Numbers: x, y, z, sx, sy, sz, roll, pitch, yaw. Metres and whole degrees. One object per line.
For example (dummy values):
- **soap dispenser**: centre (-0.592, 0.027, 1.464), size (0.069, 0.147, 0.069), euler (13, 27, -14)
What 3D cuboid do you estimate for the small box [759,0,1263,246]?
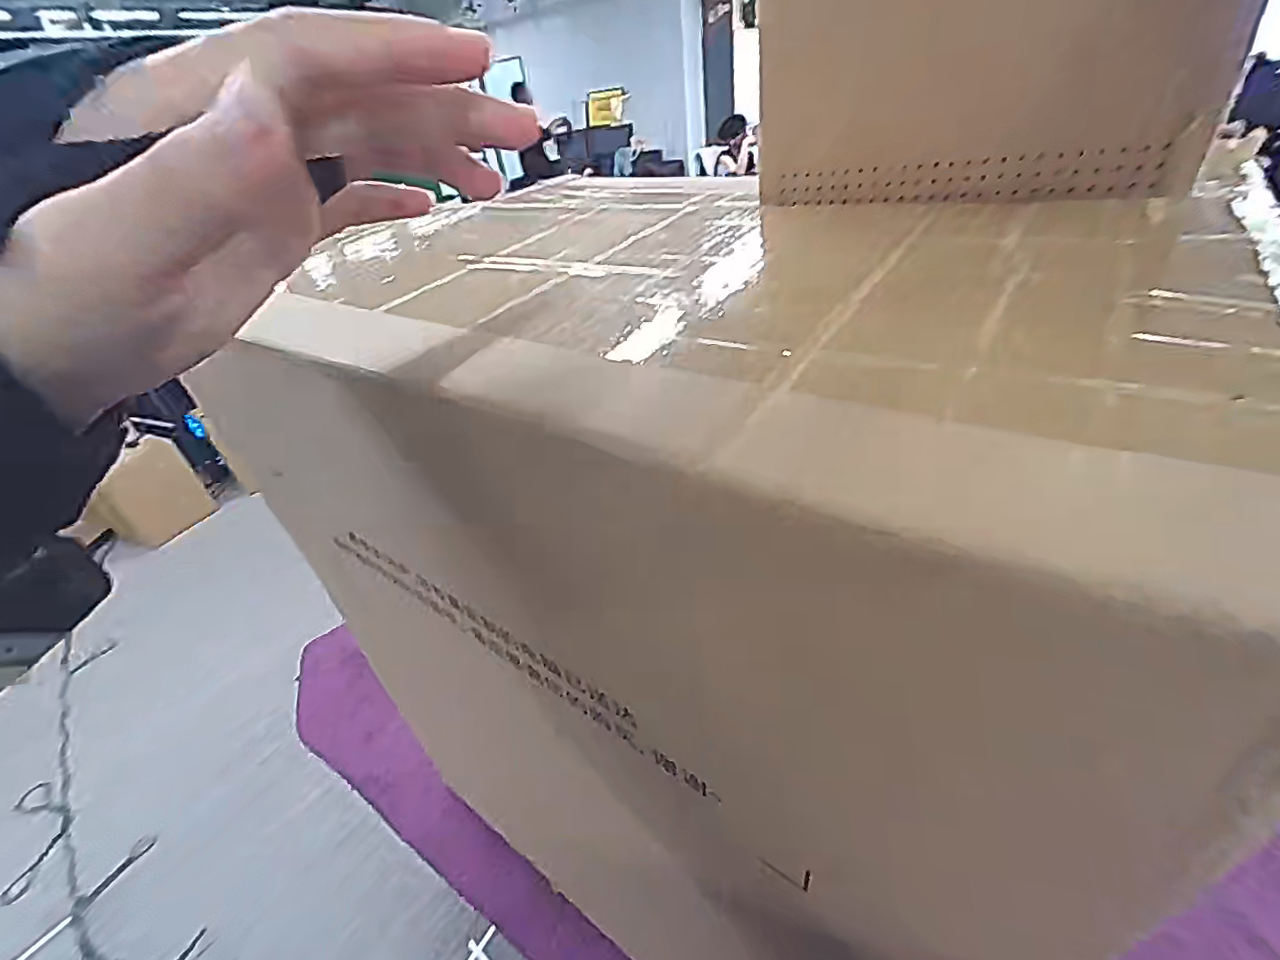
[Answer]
- **small box**: centre (0.170, -0.221, 0.260), size (0.179, 0.176, 0.168), euler (14, 42, 31)
